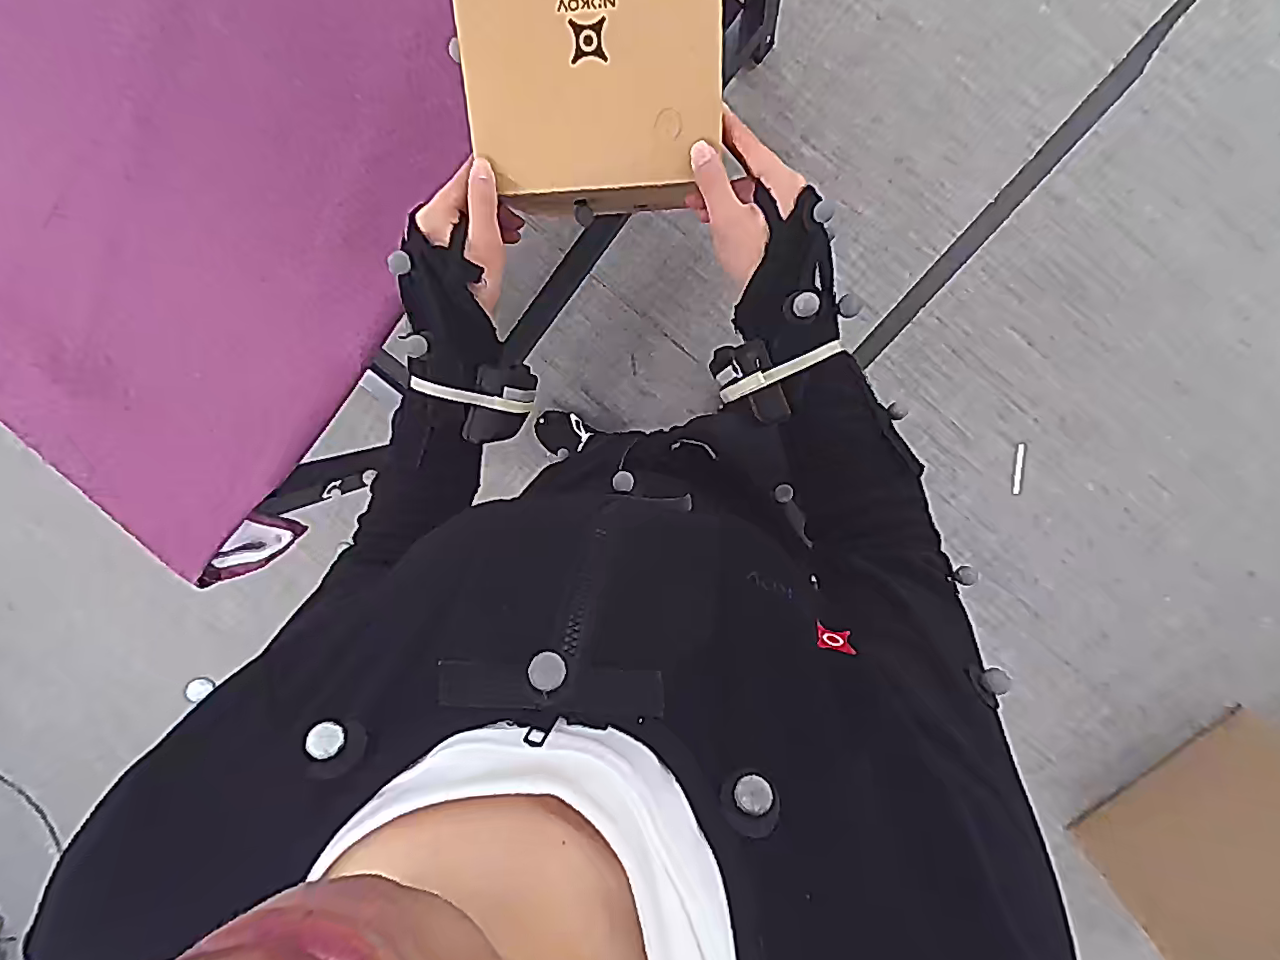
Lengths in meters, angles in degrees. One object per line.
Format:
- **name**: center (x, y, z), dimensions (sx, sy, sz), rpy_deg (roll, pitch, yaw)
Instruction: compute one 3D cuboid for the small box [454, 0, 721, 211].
- **small box**: center (-0.026, -0.306, 0.404), dimensions (0.168, 0.176, 0.179), rpy_deg (-1, 110, 4)
